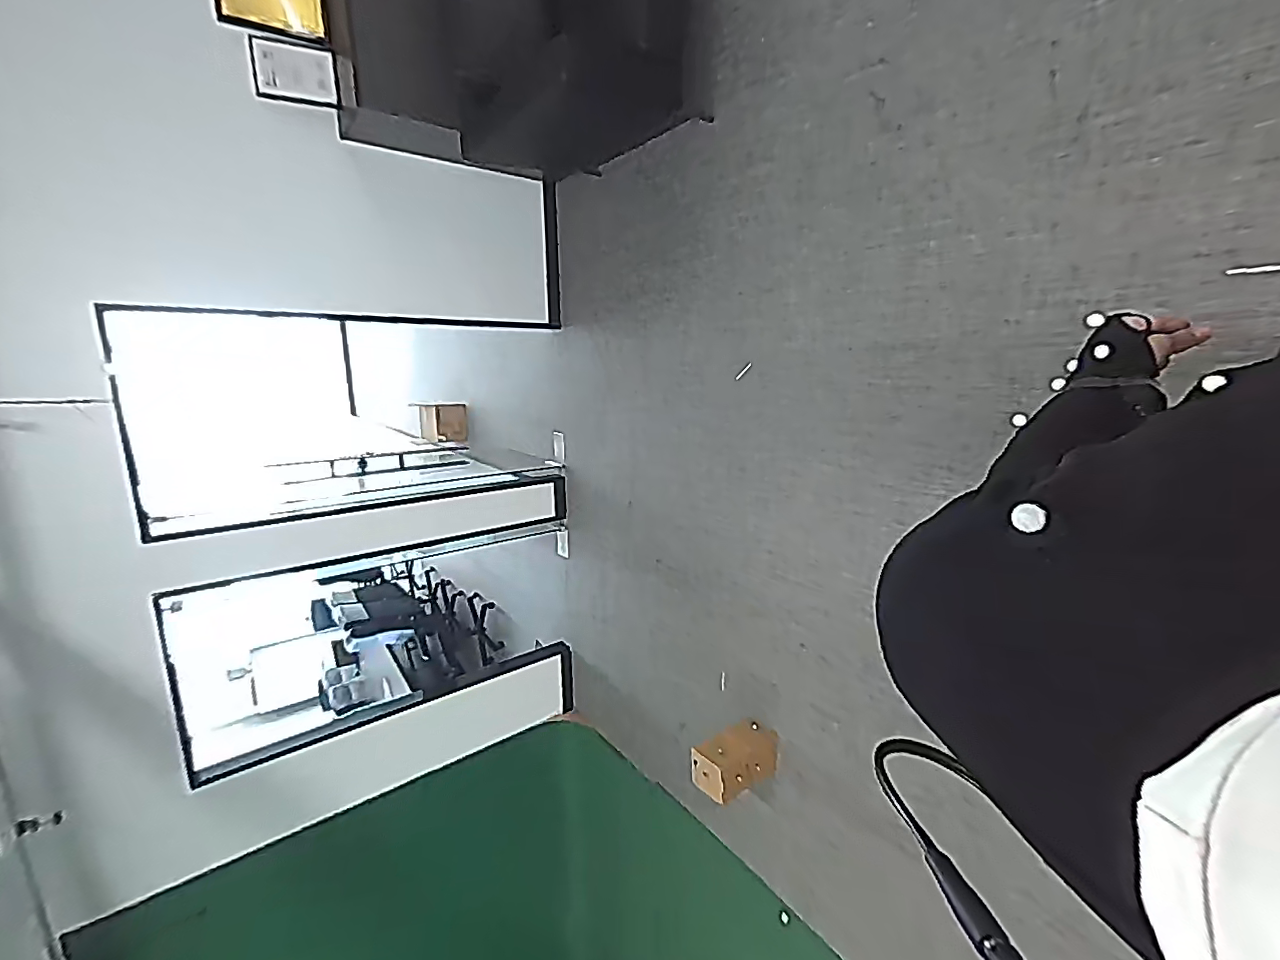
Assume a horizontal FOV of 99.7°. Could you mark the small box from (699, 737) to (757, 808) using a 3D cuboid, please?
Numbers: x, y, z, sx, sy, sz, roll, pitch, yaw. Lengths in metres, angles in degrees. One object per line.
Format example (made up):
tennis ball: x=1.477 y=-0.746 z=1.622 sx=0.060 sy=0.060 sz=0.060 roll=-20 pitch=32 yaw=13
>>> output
small box: x=0.363 y=1.185 z=2.209 sx=0.179 sy=0.176 sz=0.168 roll=9 pitch=104 yaw=52

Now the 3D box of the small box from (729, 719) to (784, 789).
small box: x=0.495 y=1.161 z=2.304 sx=0.168 sy=0.176 sz=0.179 roll=14 pitch=107 yaw=52
